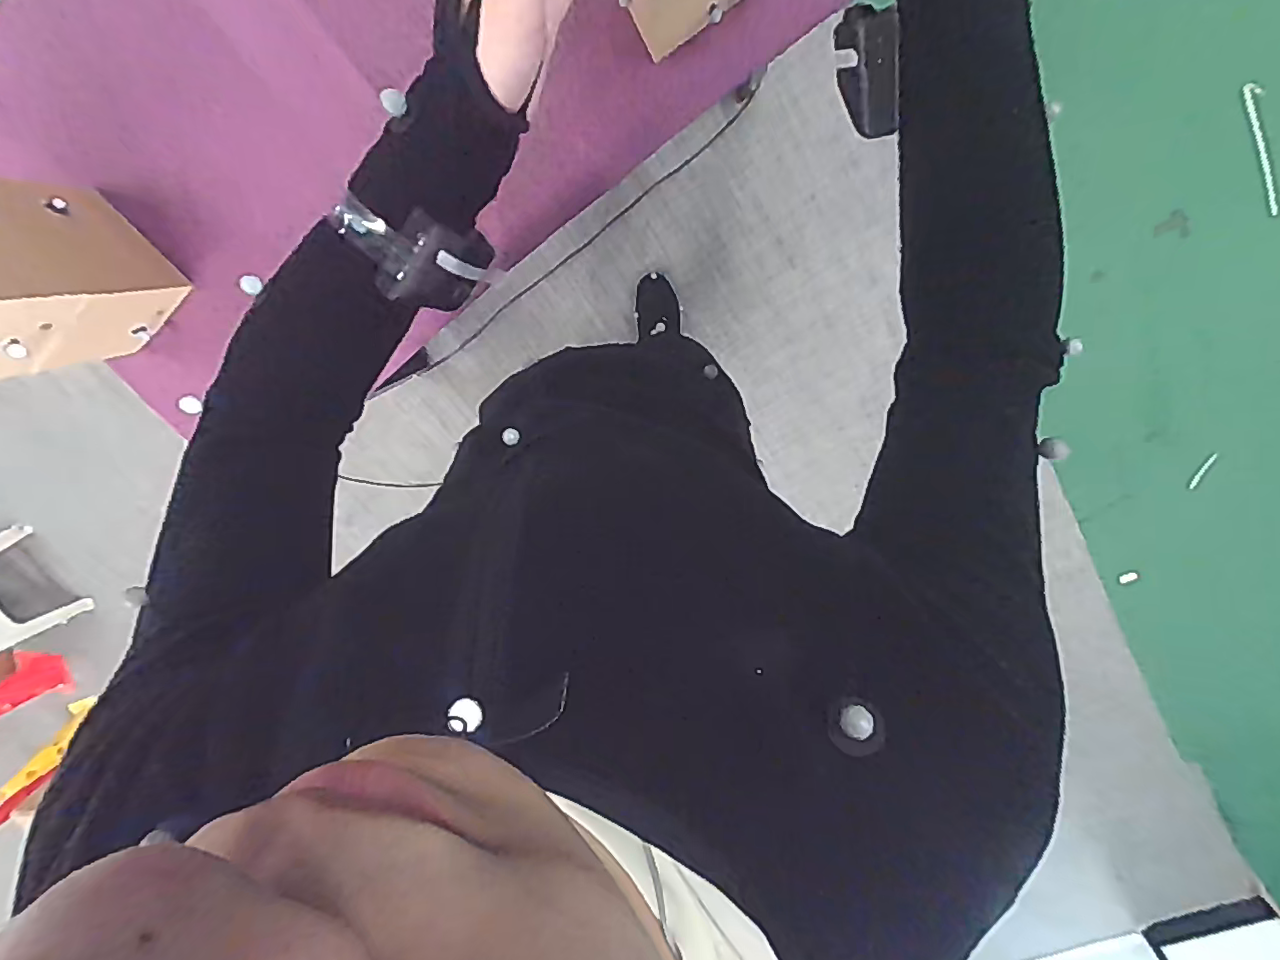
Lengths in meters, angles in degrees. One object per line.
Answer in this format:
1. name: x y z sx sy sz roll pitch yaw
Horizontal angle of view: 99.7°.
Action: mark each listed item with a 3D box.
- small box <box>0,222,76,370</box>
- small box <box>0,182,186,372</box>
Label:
1. small box: -0.814 -0.216 0.597 0.168 0.176 0.179 -35 107 18
2. small box: -0.803 -0.280 0.747 0.168 0.176 0.179 -35 107 17
